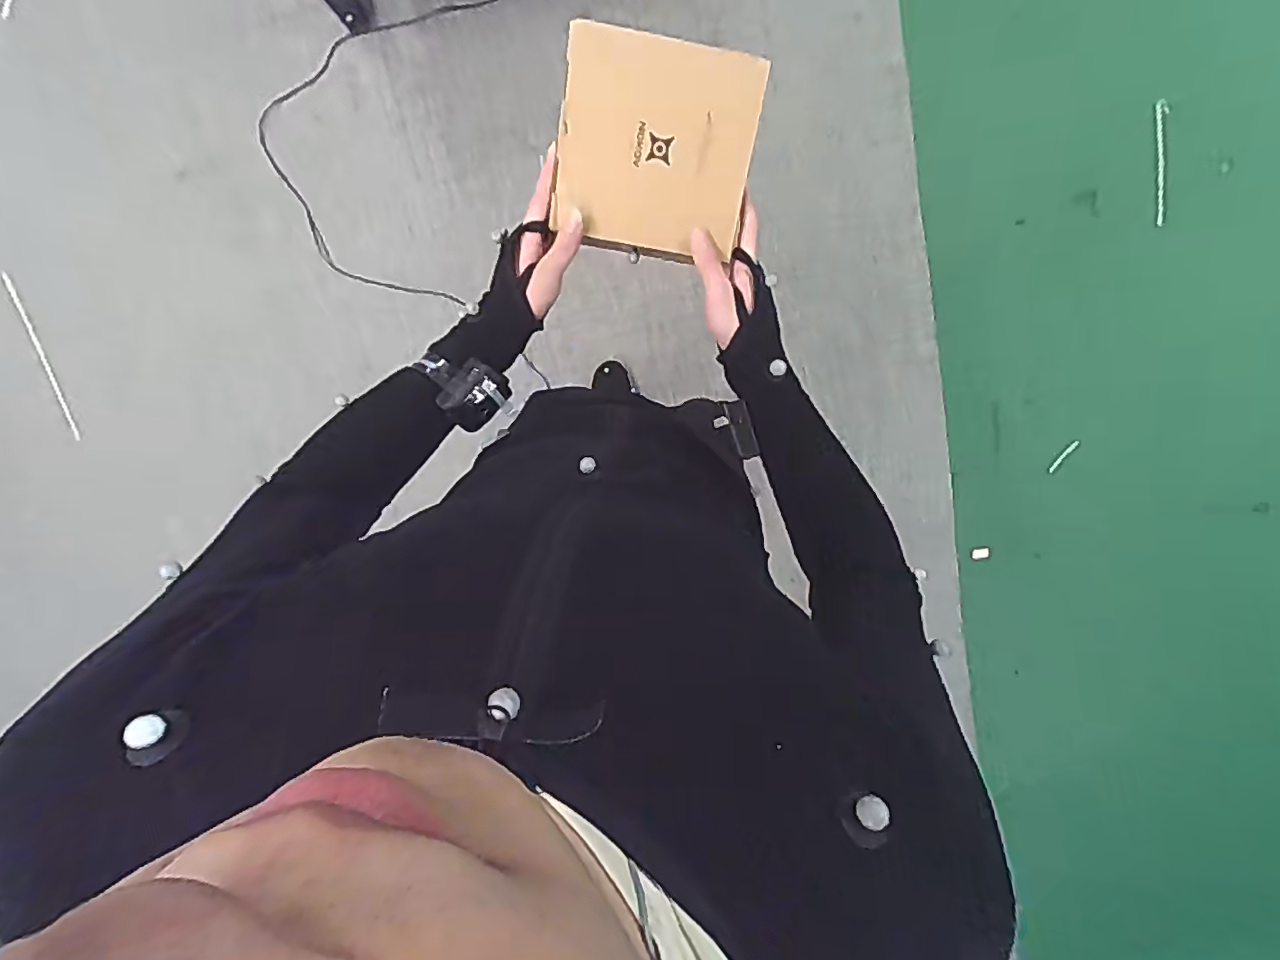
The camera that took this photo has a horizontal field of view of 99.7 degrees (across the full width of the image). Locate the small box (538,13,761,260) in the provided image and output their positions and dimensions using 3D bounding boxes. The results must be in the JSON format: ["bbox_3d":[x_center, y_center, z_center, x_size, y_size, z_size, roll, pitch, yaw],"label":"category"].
[{"bbox_3d":[0.004,-0.327,0.555,0.179,0.176,0.168,9,110,-4],"label":"small box"}]
